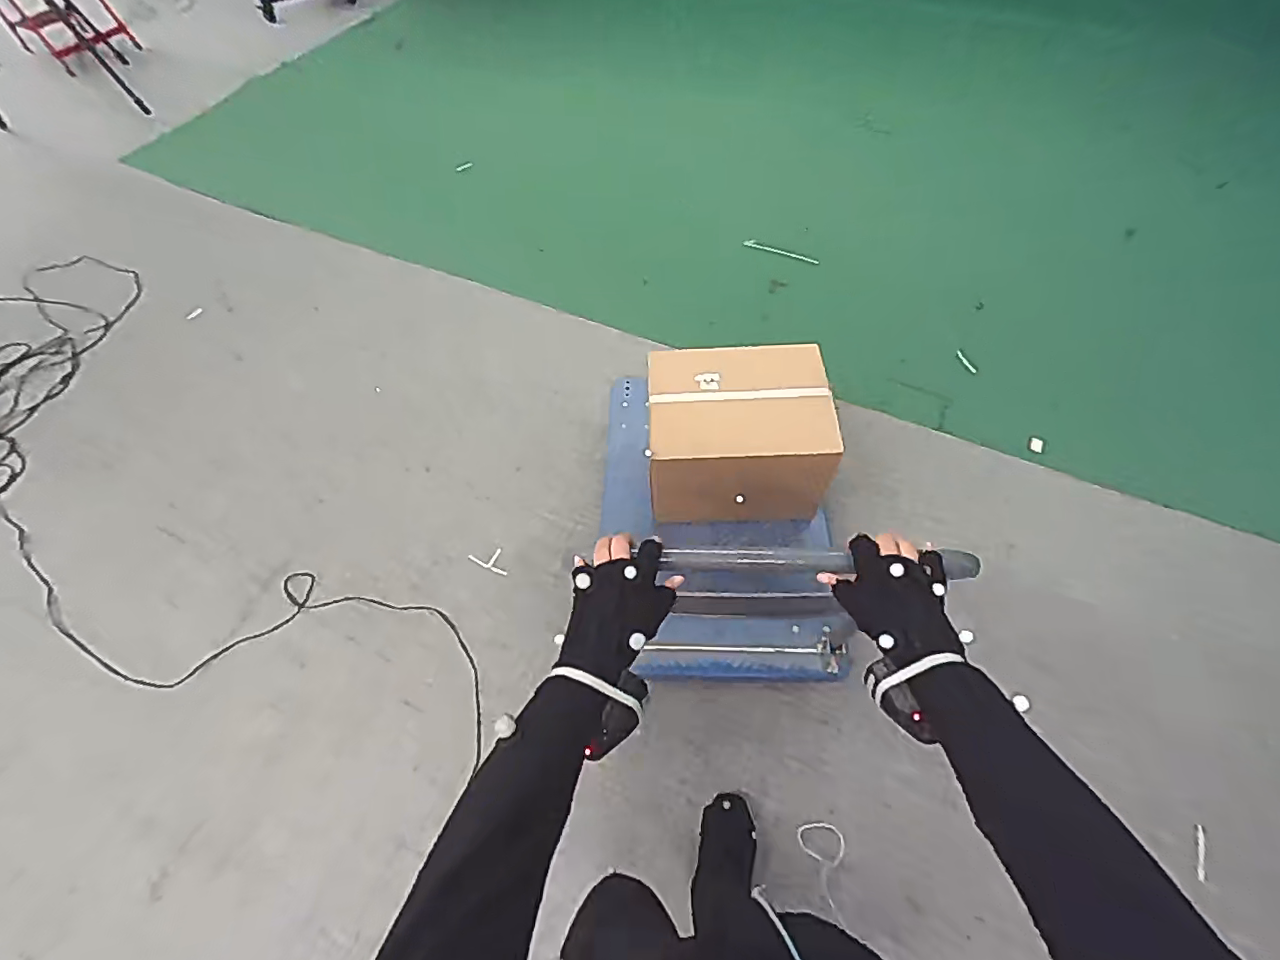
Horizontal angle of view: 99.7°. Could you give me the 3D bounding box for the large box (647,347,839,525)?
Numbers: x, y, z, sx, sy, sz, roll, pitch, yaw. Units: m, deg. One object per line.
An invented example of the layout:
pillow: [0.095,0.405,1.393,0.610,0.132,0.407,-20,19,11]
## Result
large box: [0.229,-0.097,1.337,0.408,0.320,0.320,-3,58,3]
